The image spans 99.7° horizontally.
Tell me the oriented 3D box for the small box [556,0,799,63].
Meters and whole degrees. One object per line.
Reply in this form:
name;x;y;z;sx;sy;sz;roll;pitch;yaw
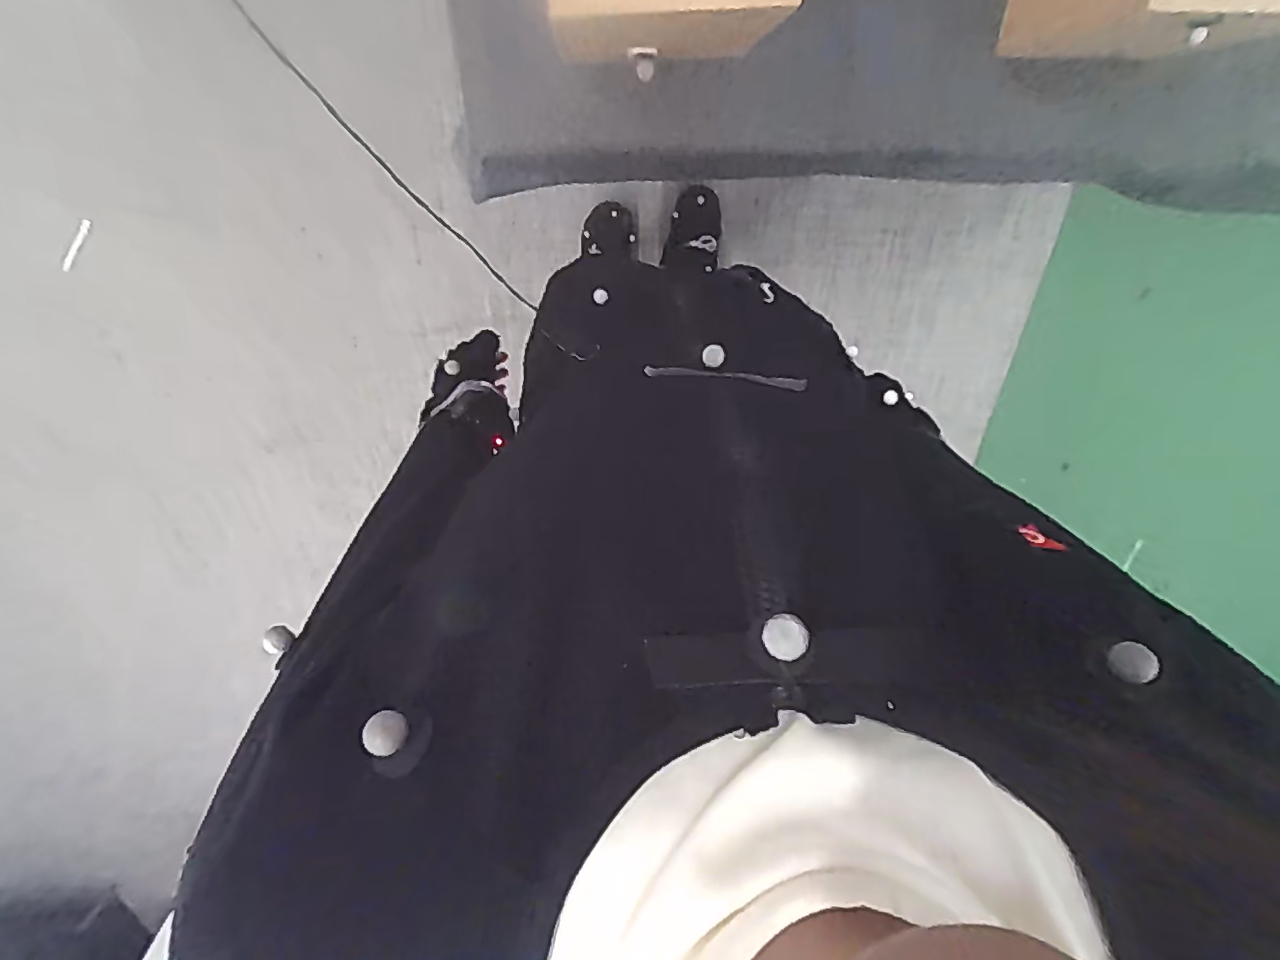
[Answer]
small box;0.018;-0.423;0.381;0.168;0.176;0.179;-4;119;0

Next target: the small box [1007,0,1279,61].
small box;0.417;-0.437;0.398;0.168;0.176;0.179;-1;119;-2
